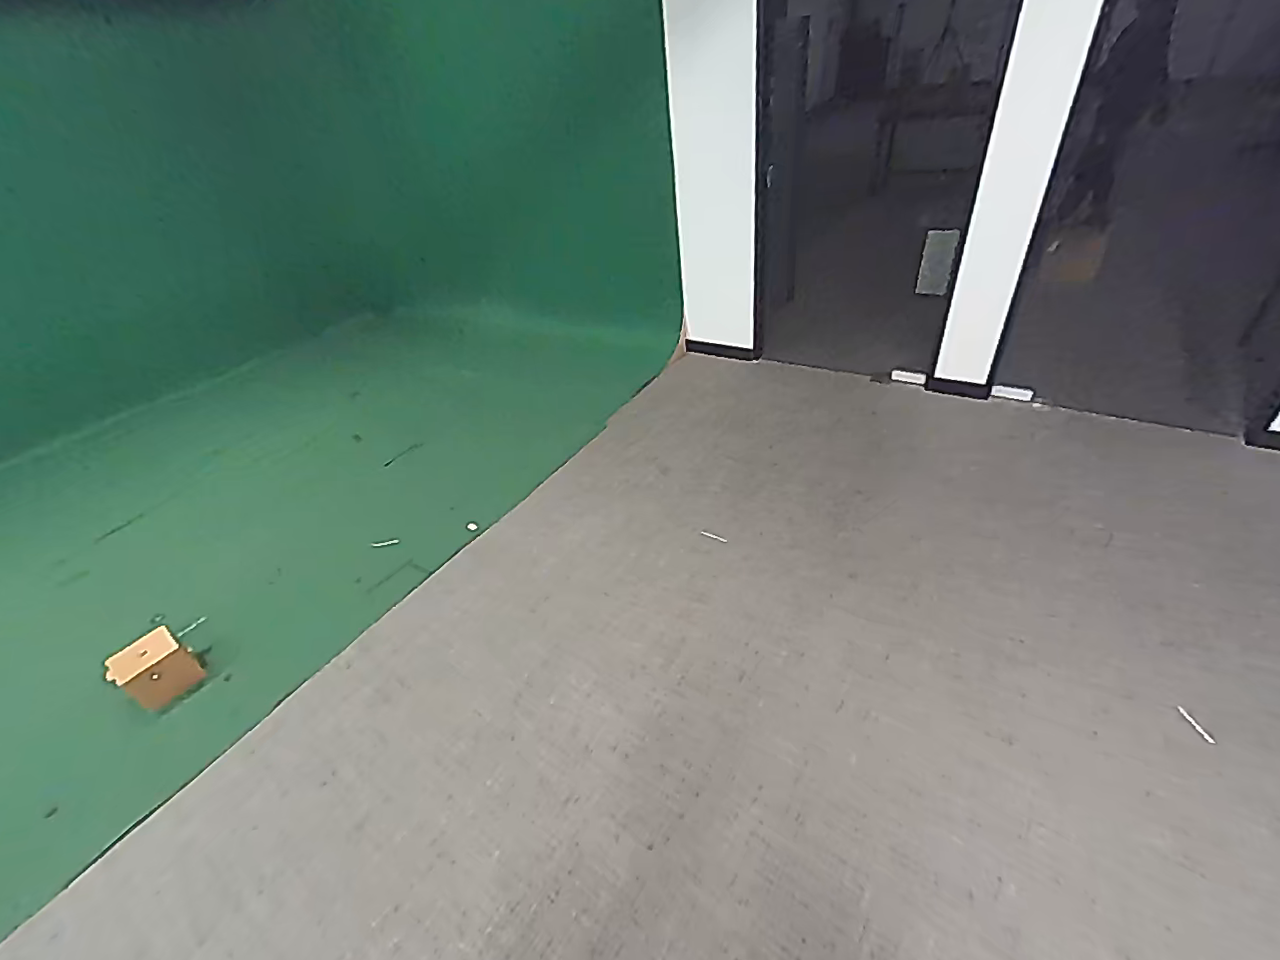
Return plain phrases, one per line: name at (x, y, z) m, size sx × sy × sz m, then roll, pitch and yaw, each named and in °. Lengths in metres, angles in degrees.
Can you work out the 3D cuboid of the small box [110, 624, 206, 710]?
small box at (-1.613, 0.630, 1.822) m, size 0.168 × 0.176 × 0.179 m, roll 22°, pitch 47°, yaw 32°
